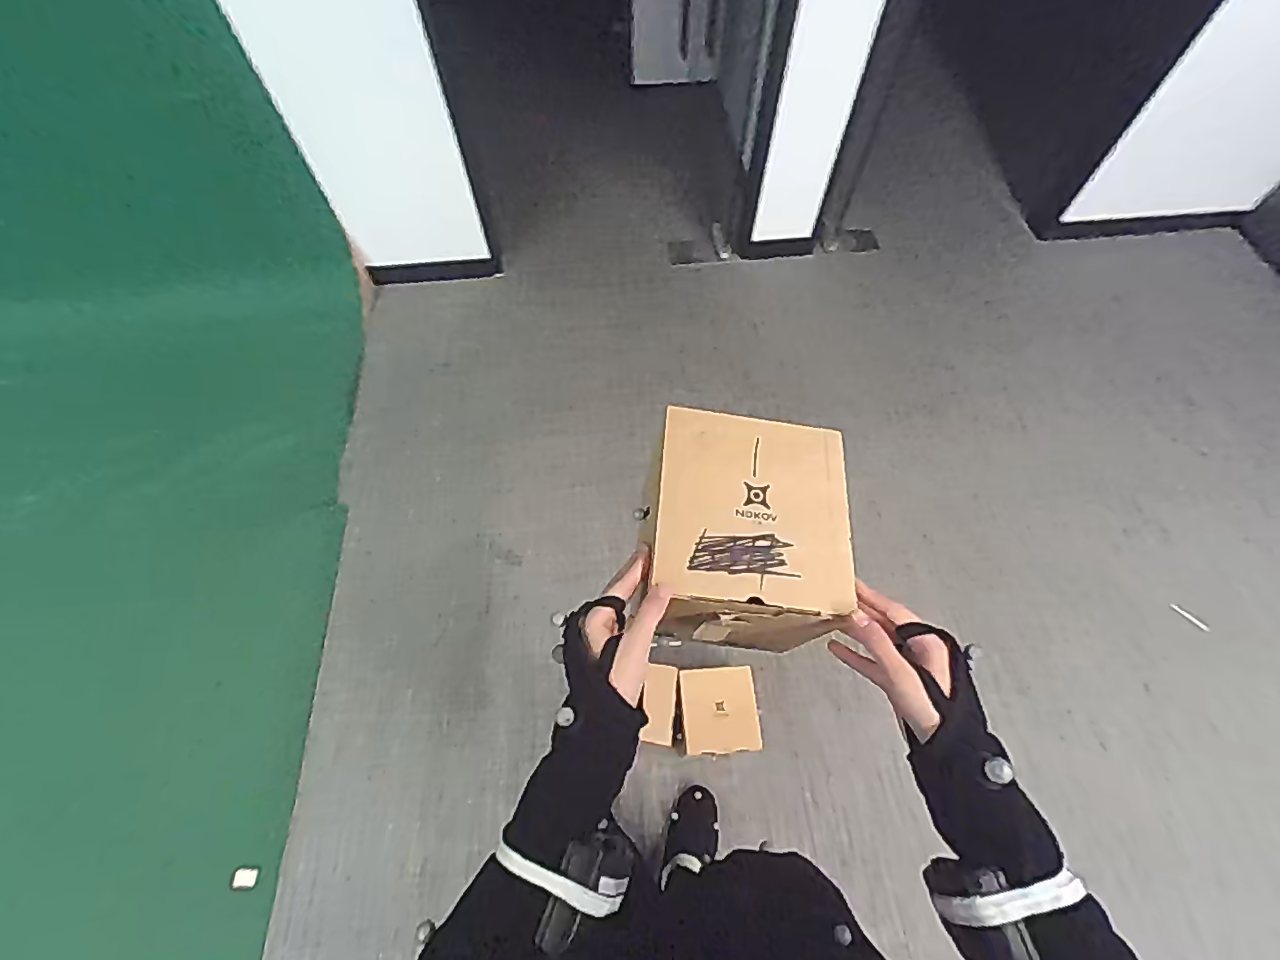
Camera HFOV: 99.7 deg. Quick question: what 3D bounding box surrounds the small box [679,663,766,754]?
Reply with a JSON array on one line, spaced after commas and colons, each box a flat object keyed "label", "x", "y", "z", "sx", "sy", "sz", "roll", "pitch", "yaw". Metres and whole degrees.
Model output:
[{"label": "small box", "x": 0.184, "y": 0.536, "z": 1.261, "sx": 0.168, "sy": 0.176, "sz": 0.179, "roll": -4, "pitch": 63, "yaw": -2}]

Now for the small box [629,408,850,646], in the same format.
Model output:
[{"label": "small box", "x": 0.082, "y": 0.056, "z": 0.523, "sx": 0.168, "sy": 0.176, "sz": 0.179, "roll": 7, "pitch": 63, "yaw": -4}]
